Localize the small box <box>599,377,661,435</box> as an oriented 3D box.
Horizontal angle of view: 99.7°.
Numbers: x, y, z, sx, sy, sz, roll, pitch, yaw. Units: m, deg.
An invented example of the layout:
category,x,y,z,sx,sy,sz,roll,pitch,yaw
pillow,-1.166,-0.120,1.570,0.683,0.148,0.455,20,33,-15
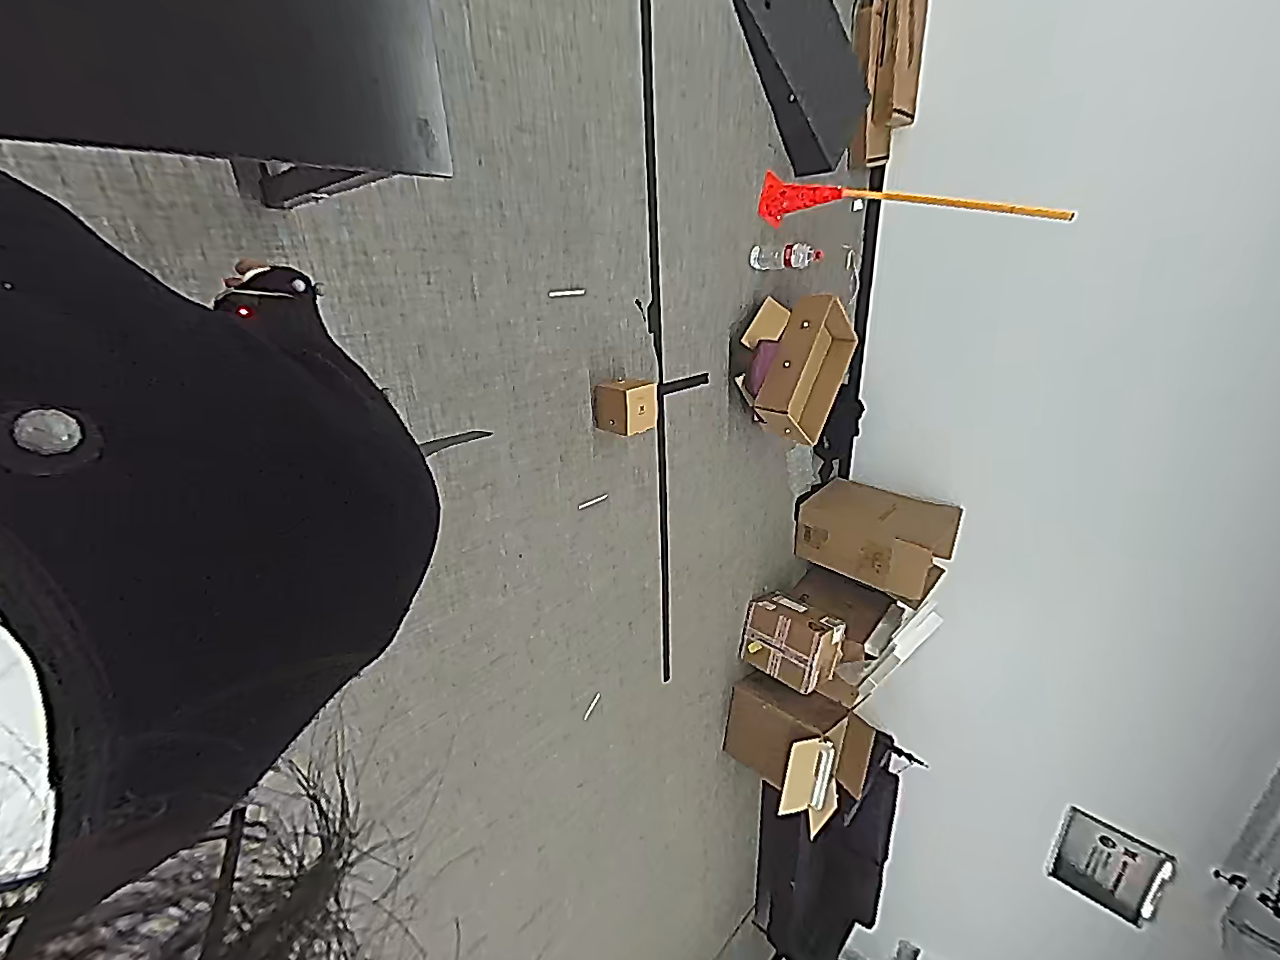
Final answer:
category,x,y,z,sx,sy,sz,roll,pitch,yaw
small box,-0.039,-0.285,2.050,0.168,0.176,0.179,-24,120,-41
